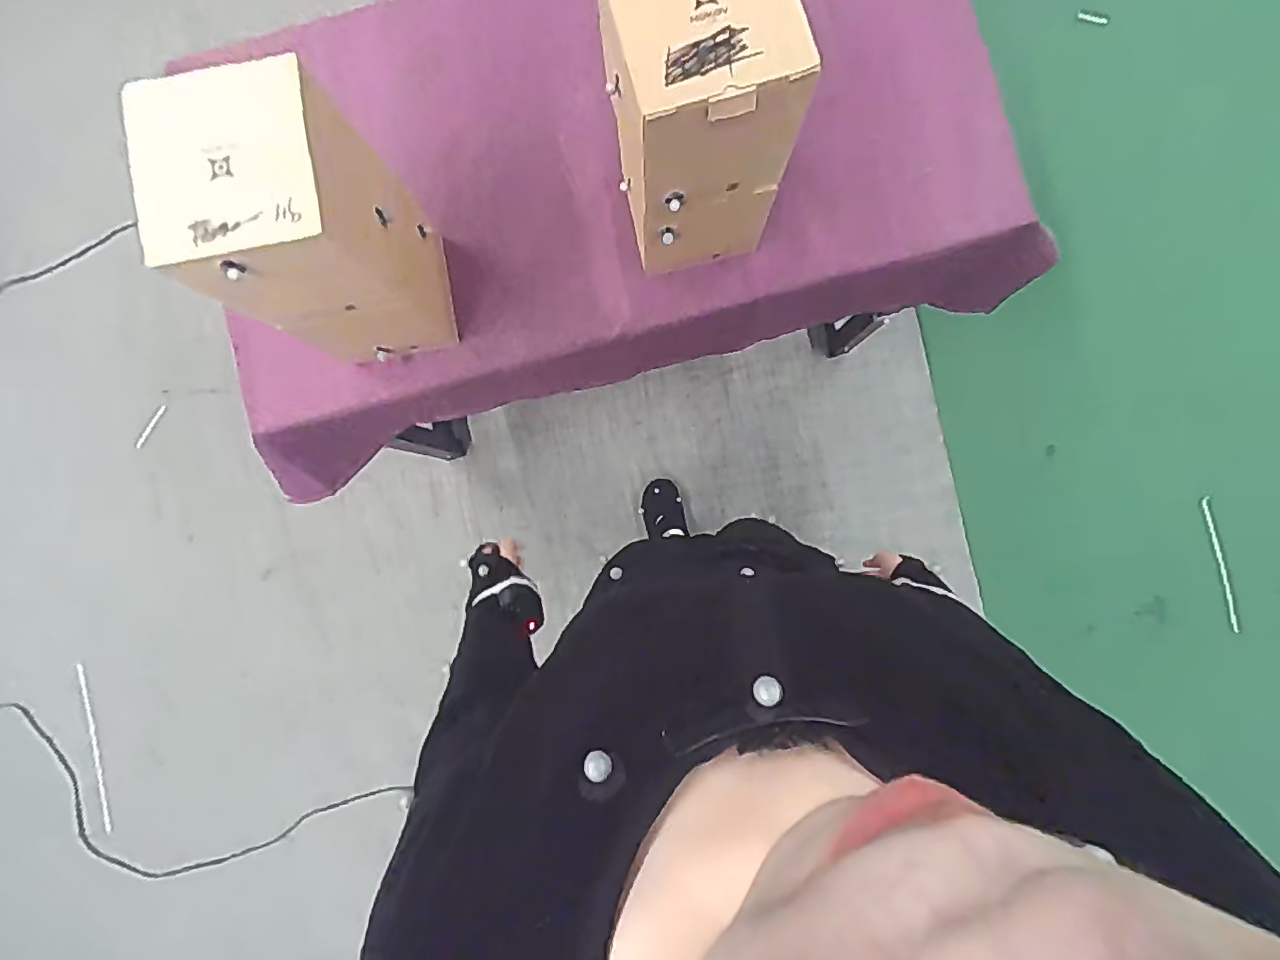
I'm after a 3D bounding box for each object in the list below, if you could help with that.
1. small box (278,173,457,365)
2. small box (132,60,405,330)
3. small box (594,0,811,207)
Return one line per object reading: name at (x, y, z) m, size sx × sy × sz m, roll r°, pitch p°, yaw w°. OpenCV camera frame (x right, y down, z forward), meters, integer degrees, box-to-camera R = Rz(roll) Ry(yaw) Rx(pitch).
small box at (-0.367, -0.274, 0.736) m, size 0.168 × 0.176 × 0.179 m, roll -10°, pitch 87°, yaw 2°
small box at (-0.373, -0.282, 0.571) m, size 0.168 × 0.176 × 0.179 m, roll -10°, pitch 86°, yaw 3°
small box at (0.057, -0.417, 0.565) m, size 0.168 × 0.176 × 0.179 m, roll -16°, pitch 85°, yaw 1°
